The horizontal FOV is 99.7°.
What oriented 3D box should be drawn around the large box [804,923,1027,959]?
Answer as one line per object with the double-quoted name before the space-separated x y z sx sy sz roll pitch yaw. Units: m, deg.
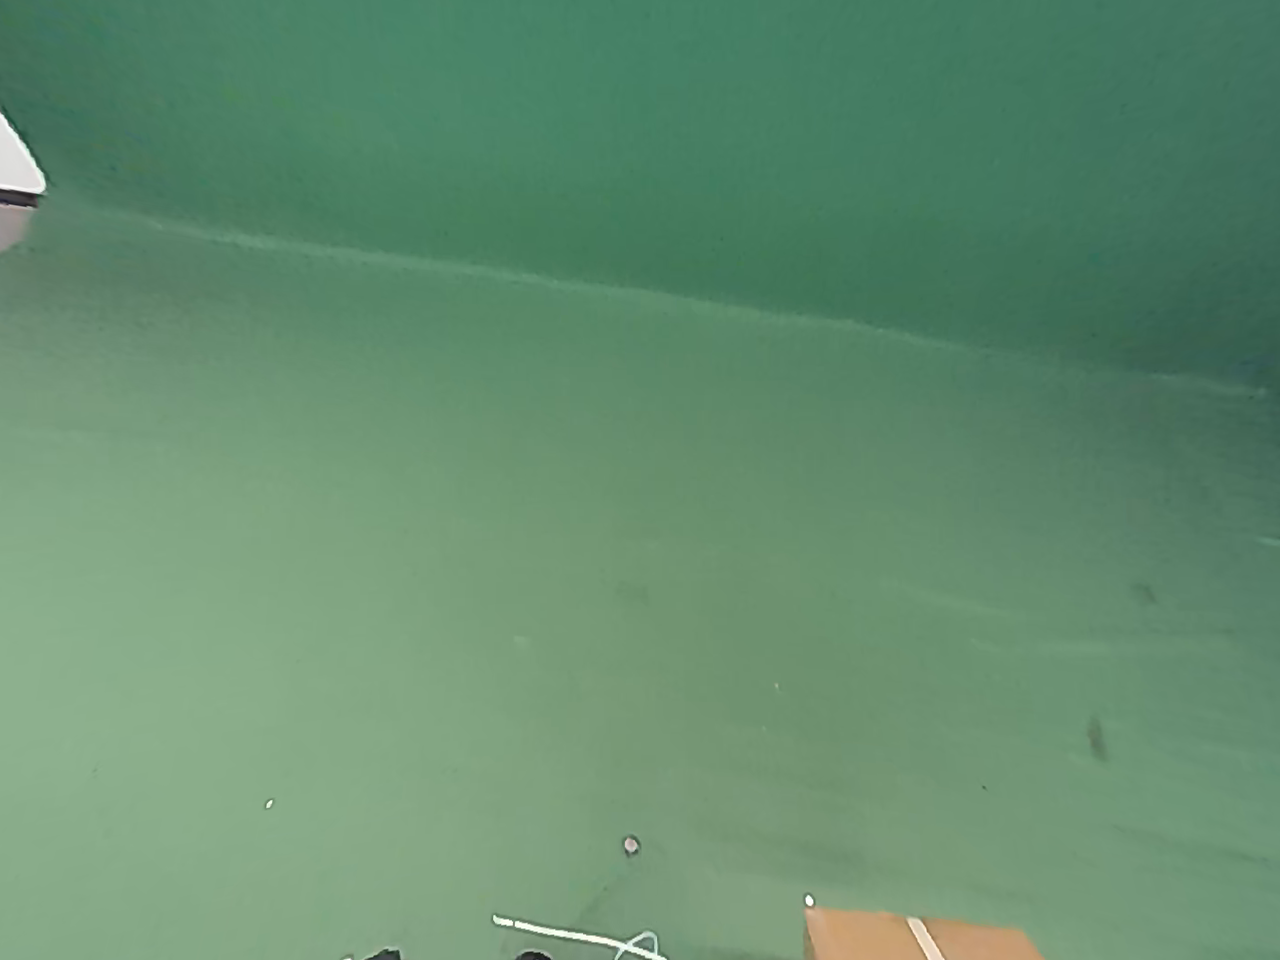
"large box" 0.374 0.798 0.586 0.320 0.408 0.320 4 84 6
